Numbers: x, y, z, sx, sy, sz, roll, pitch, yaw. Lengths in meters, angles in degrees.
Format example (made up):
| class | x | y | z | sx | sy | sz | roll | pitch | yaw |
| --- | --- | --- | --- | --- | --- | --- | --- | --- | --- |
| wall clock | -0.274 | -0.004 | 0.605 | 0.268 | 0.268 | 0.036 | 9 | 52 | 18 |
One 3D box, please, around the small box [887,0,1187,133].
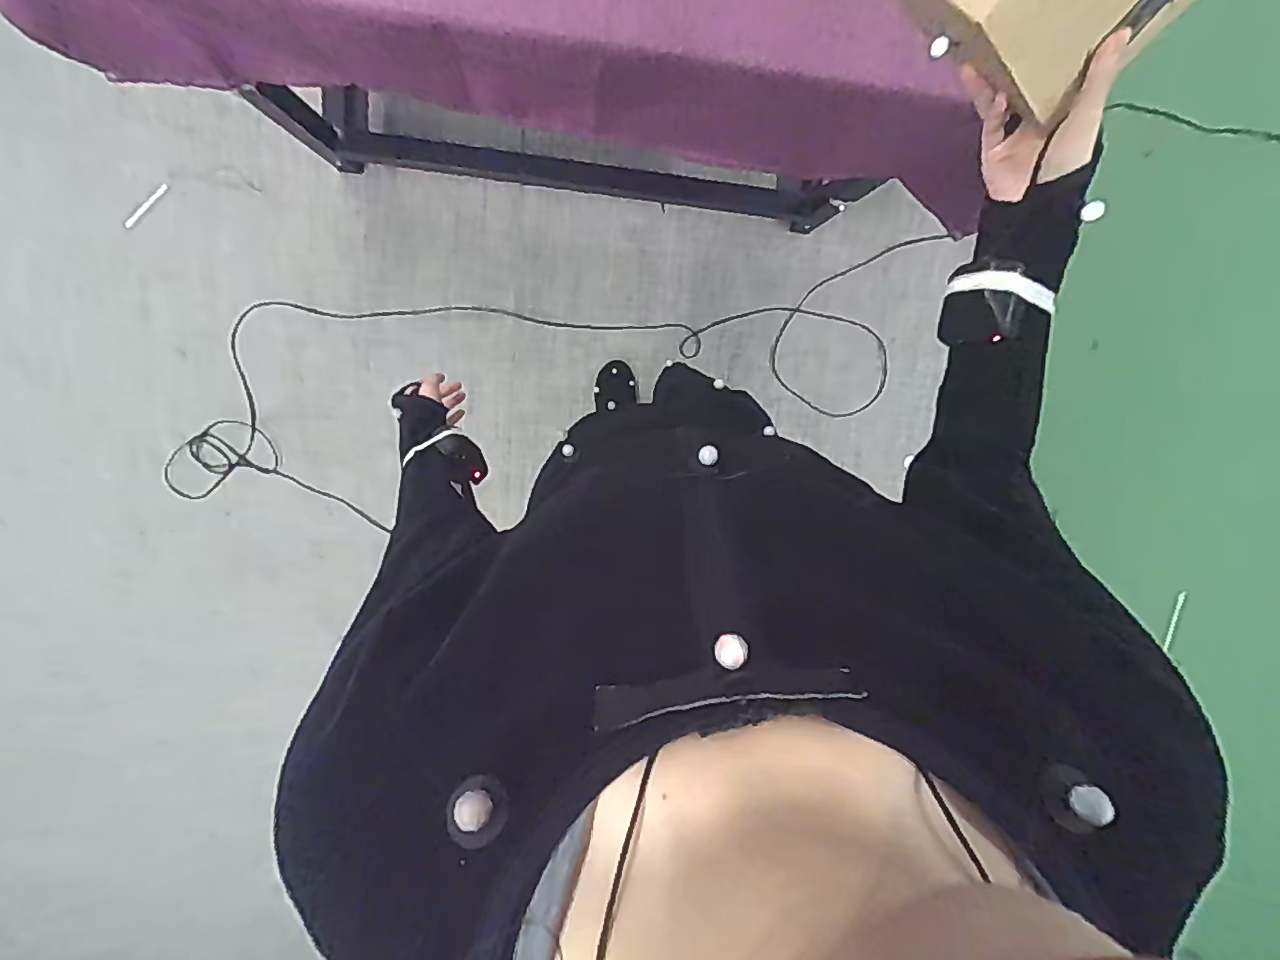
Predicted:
| class | x | y | z | sx | sy | sz | roll | pitch | yaw |
| --- | --- | --- | --- | --- | --- | --- | --- | --- | --- |
| small box | 0.272 | -0.386 | 0.359 | 0.179 | 0.176 | 0.168 | 0 | 145 | -41 |
